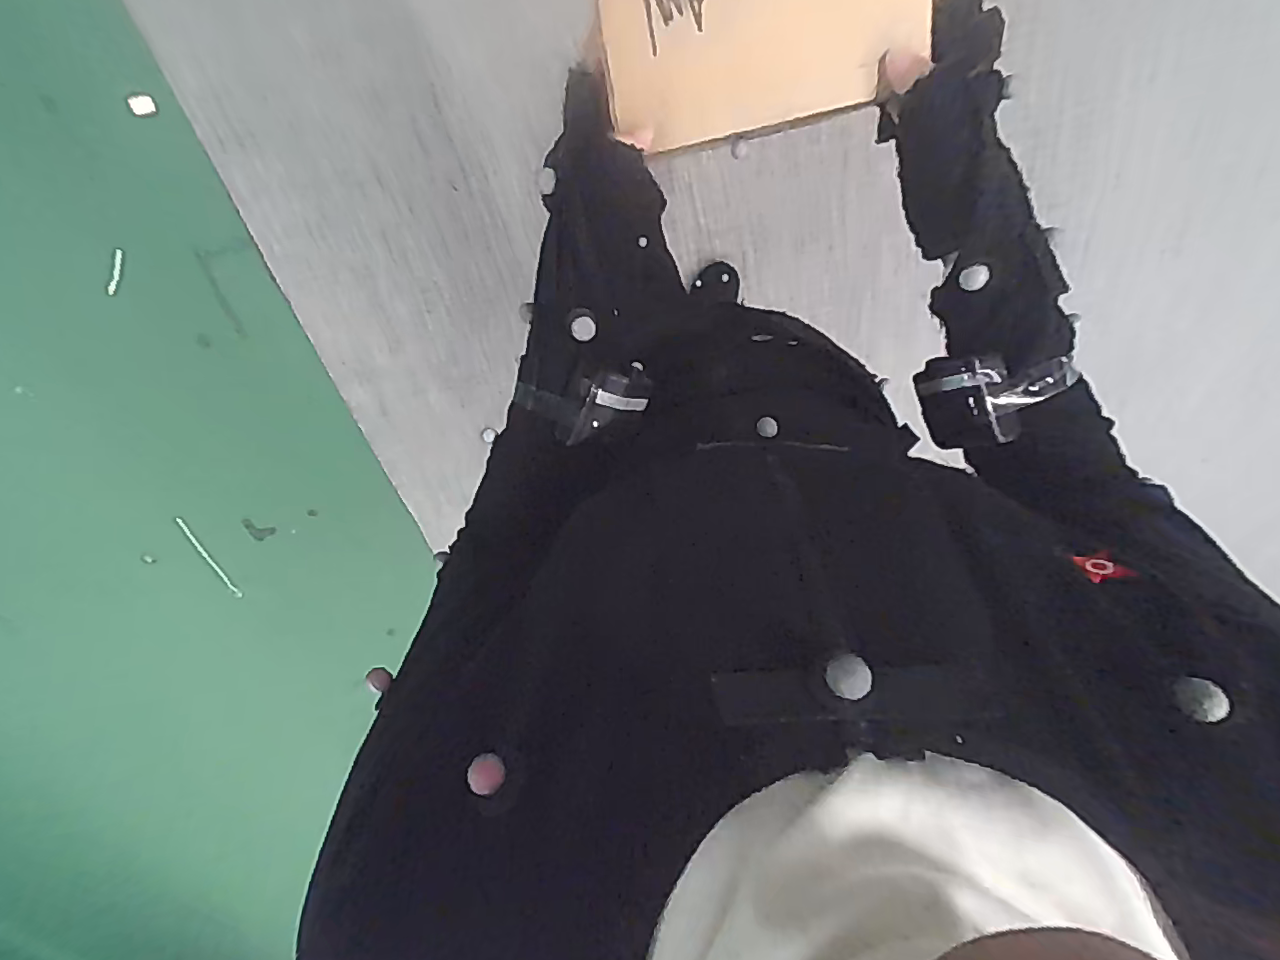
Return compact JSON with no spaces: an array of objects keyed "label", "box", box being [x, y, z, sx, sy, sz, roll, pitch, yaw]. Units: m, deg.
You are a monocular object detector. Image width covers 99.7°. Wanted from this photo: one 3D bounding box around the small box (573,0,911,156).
[{"label":"small box","box":[0.052,-0.315,0.341,0.179,0.176,0.168,-8,119,7]}]
